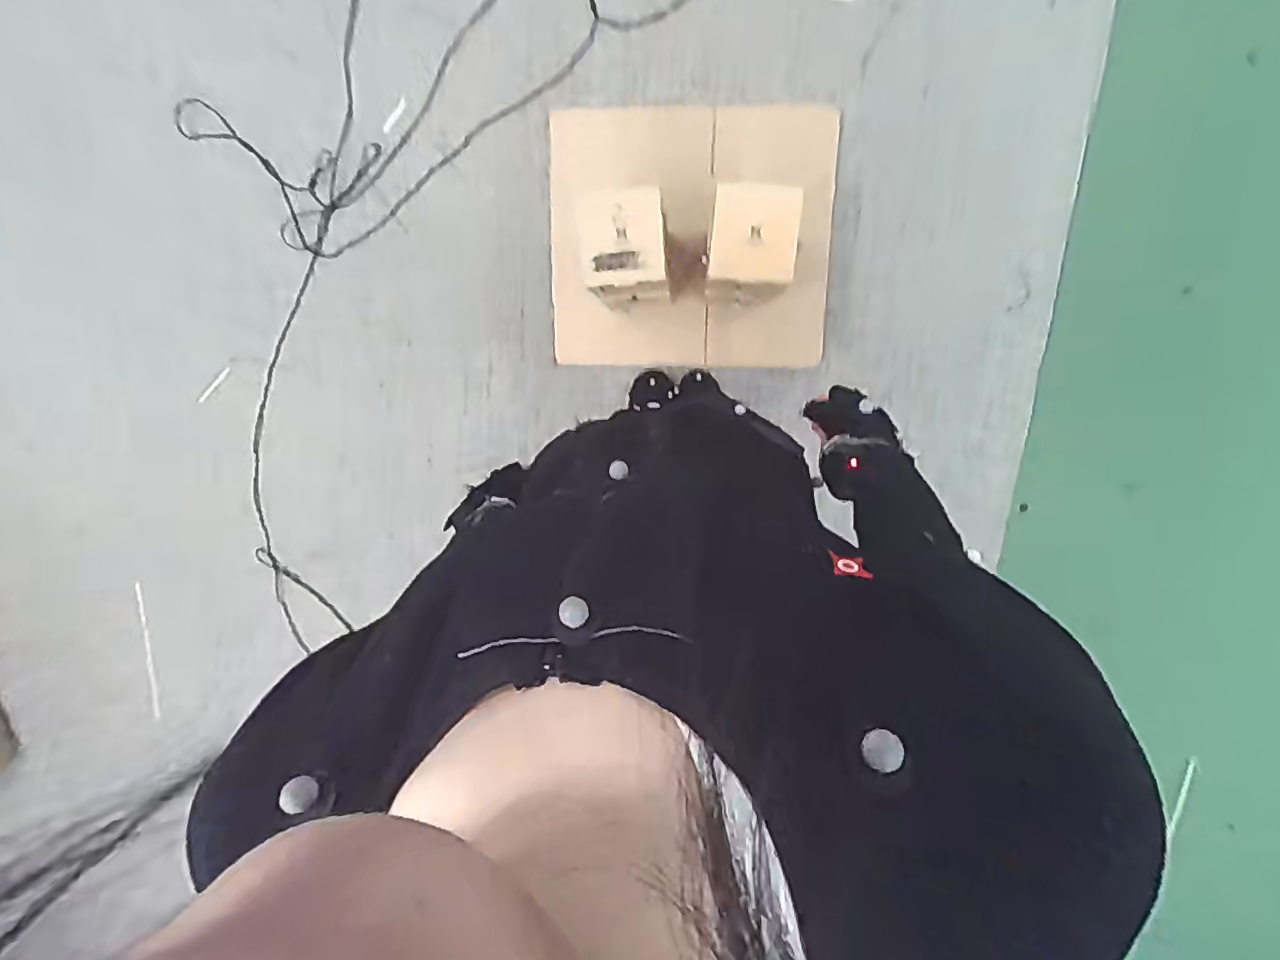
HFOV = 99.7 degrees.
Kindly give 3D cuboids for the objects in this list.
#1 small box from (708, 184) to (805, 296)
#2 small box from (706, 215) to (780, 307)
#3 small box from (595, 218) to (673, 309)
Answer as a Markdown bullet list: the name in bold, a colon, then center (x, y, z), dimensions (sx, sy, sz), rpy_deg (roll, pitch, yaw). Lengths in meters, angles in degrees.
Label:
- **small box**: center (0.230, -0.485, 1.113), dimensions (0.168, 0.176, 0.179), rpy_deg (5, 103, 4)
- **small box**: center (0.242, -0.511, 1.273), dimensions (0.168, 0.176, 0.179), rpy_deg (2, 102, 6)
- **small box**: center (-0.009, -0.507, 1.291), dimensions (0.168, 0.176, 0.179), rpy_deg (-2, 101, 5)
